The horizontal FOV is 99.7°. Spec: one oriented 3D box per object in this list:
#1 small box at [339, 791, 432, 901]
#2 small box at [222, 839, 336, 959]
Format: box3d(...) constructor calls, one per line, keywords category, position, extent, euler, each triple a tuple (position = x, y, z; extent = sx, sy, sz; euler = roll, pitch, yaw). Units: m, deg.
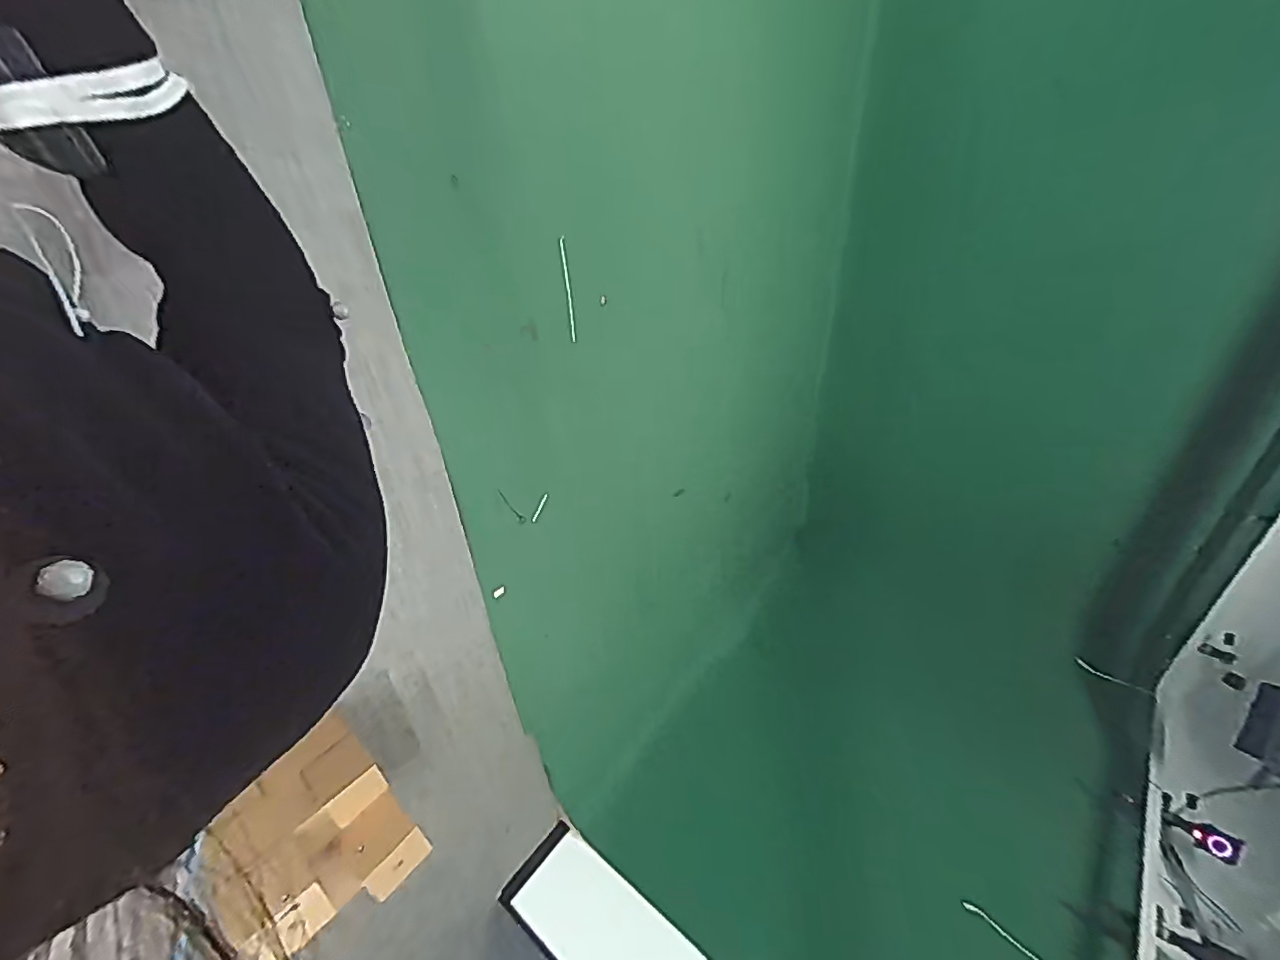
box3d(category="small box", position=(-0.750, 1.066, 1.584), extent=(0.179, 0.176, 0.168), euler=(-39, 139, -37))
box3d(category="small box", position=(-0.903, 1.056, 1.358), extent=(0.168, 0.176, 0.179), euler=(-32, 134, -40))
